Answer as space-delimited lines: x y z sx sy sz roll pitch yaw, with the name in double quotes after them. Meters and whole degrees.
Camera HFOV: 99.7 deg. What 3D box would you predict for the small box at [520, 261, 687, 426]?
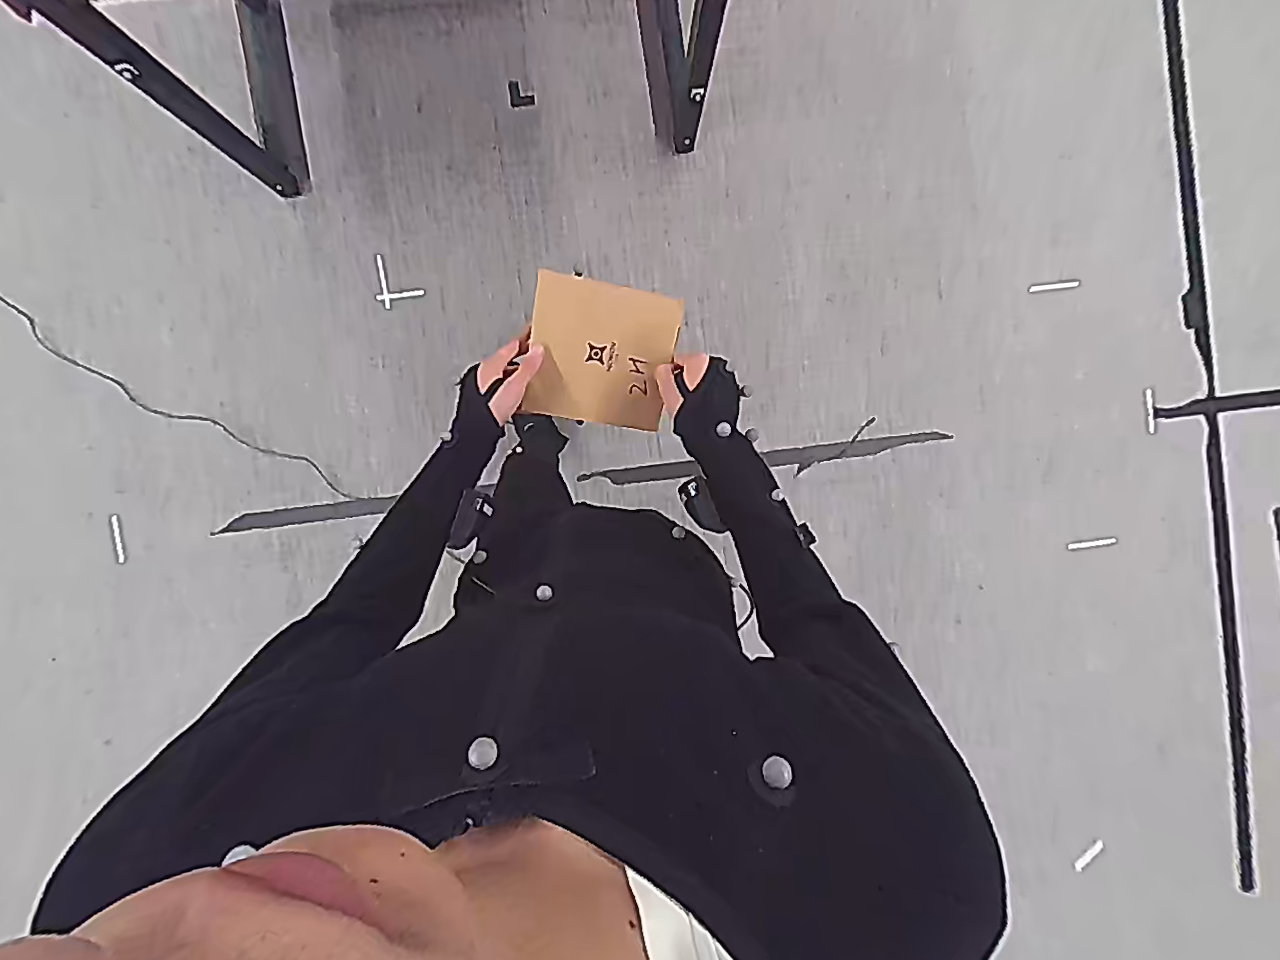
-0.055 -0.183 0.716 0.179 0.176 0.168 8 109 -11 "small box"
